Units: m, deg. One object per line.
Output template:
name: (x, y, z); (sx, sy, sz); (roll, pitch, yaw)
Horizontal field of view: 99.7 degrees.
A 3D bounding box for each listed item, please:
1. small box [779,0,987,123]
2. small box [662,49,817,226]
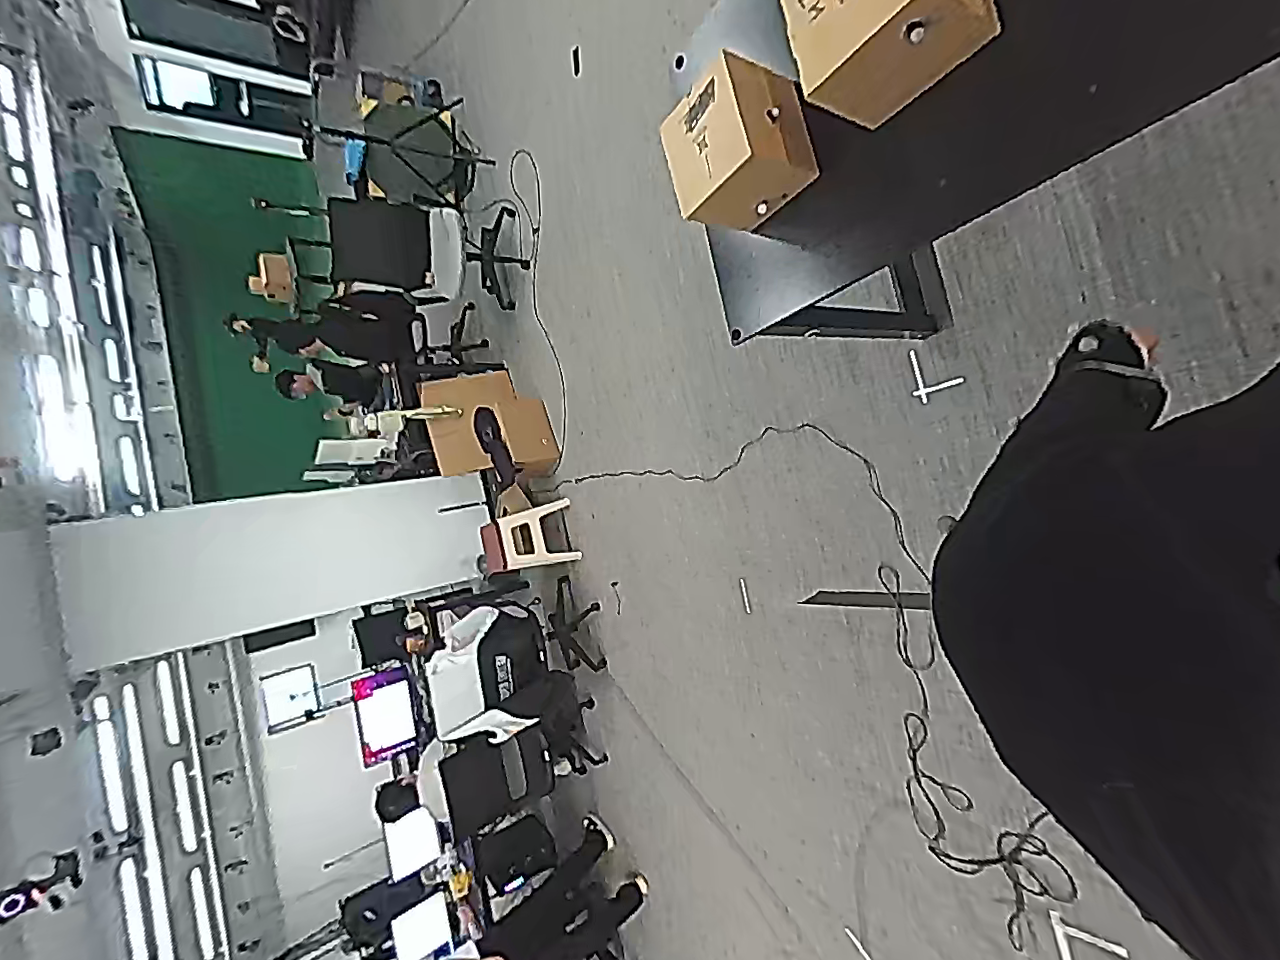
small box: (0.311, -0.606, 0.691); (0.179, 0.176, 0.168); (-19, 82, 55)
small box: (0.166, -0.557, 0.910); (0.168, 0.176, 0.179); (-21, 82, 55)
